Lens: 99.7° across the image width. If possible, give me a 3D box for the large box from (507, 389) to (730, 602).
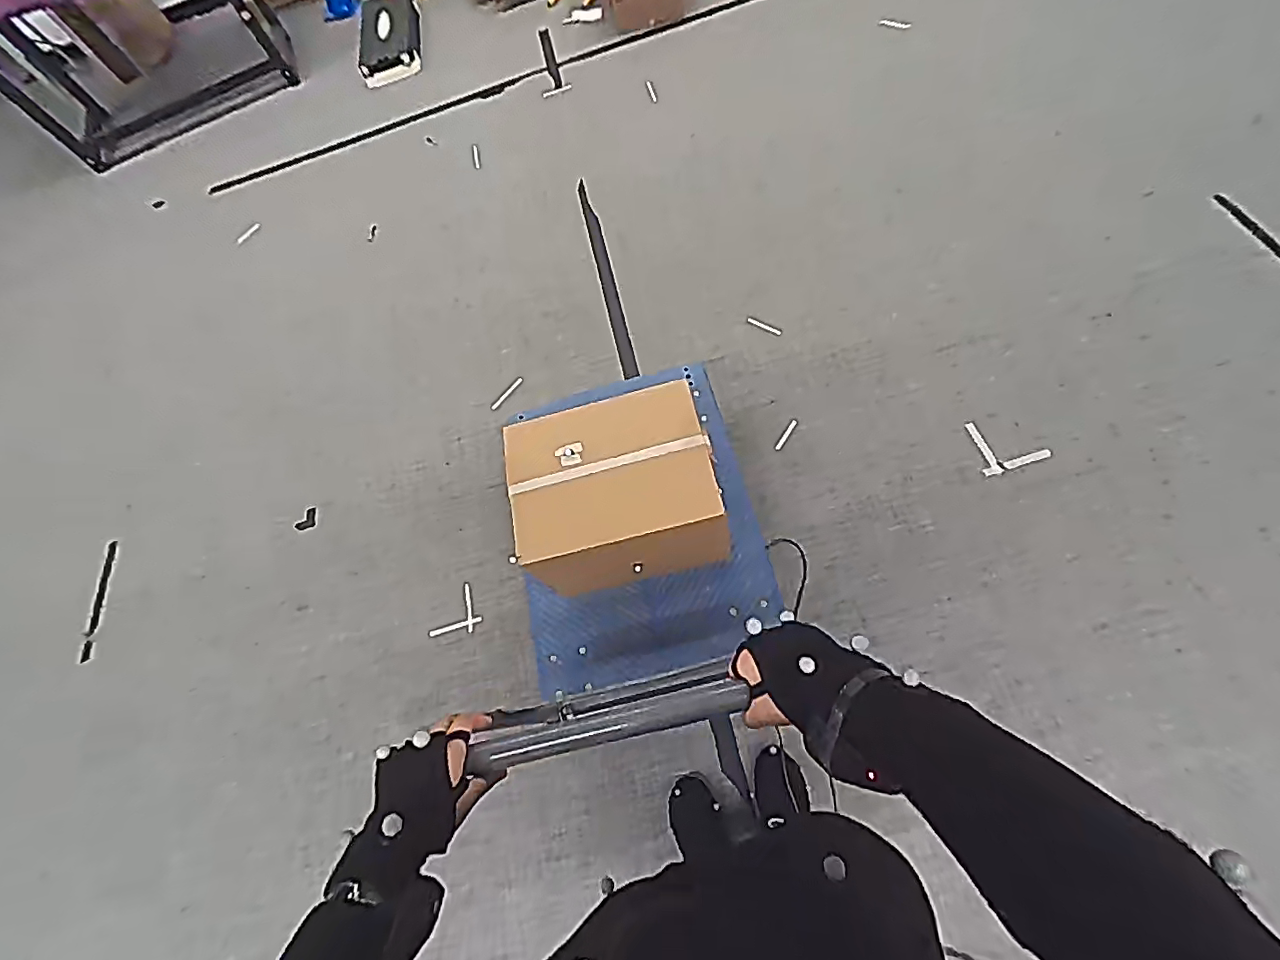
[{"bbox_3d":[-0.037,0.052,1.220,0.408,0.320,0.320,-16,63,5],"label":"large box"}]
